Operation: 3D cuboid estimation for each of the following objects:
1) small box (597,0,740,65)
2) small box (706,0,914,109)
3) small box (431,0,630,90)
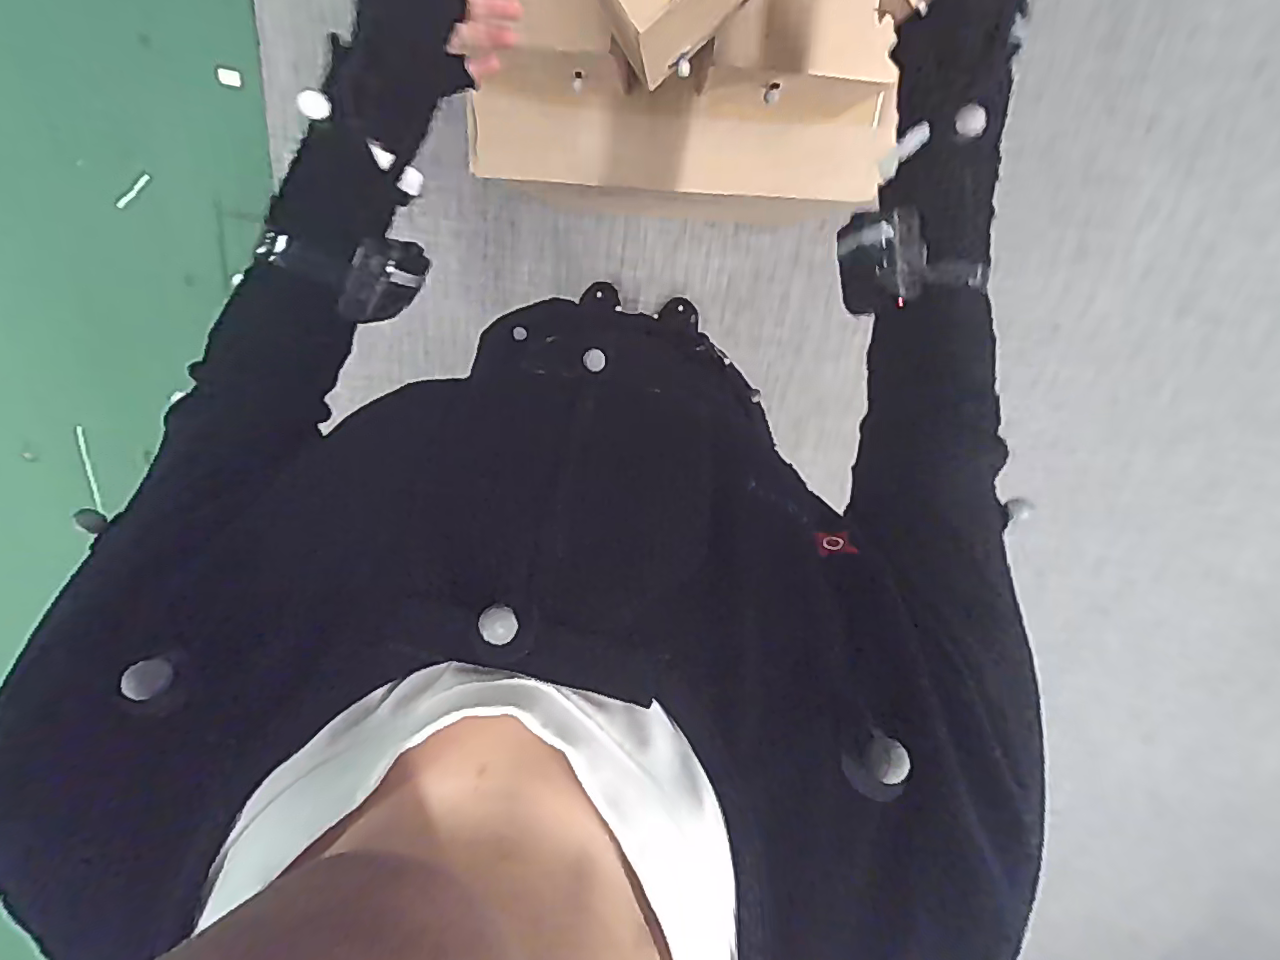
[{"bbox_3d":[0.022,-0.441,0.384,0.168,0.176,0.179,-33,108,17],"label":"small box"},{"bbox_3d":[0.163,-0.487,0.538,0.179,0.176,0.168,6,116,1],"label":"small box"},{"bbox_3d":[-0.097,-0.509,0.540,0.179,0.176,0.168,4,114,2],"label":"small box"}]
